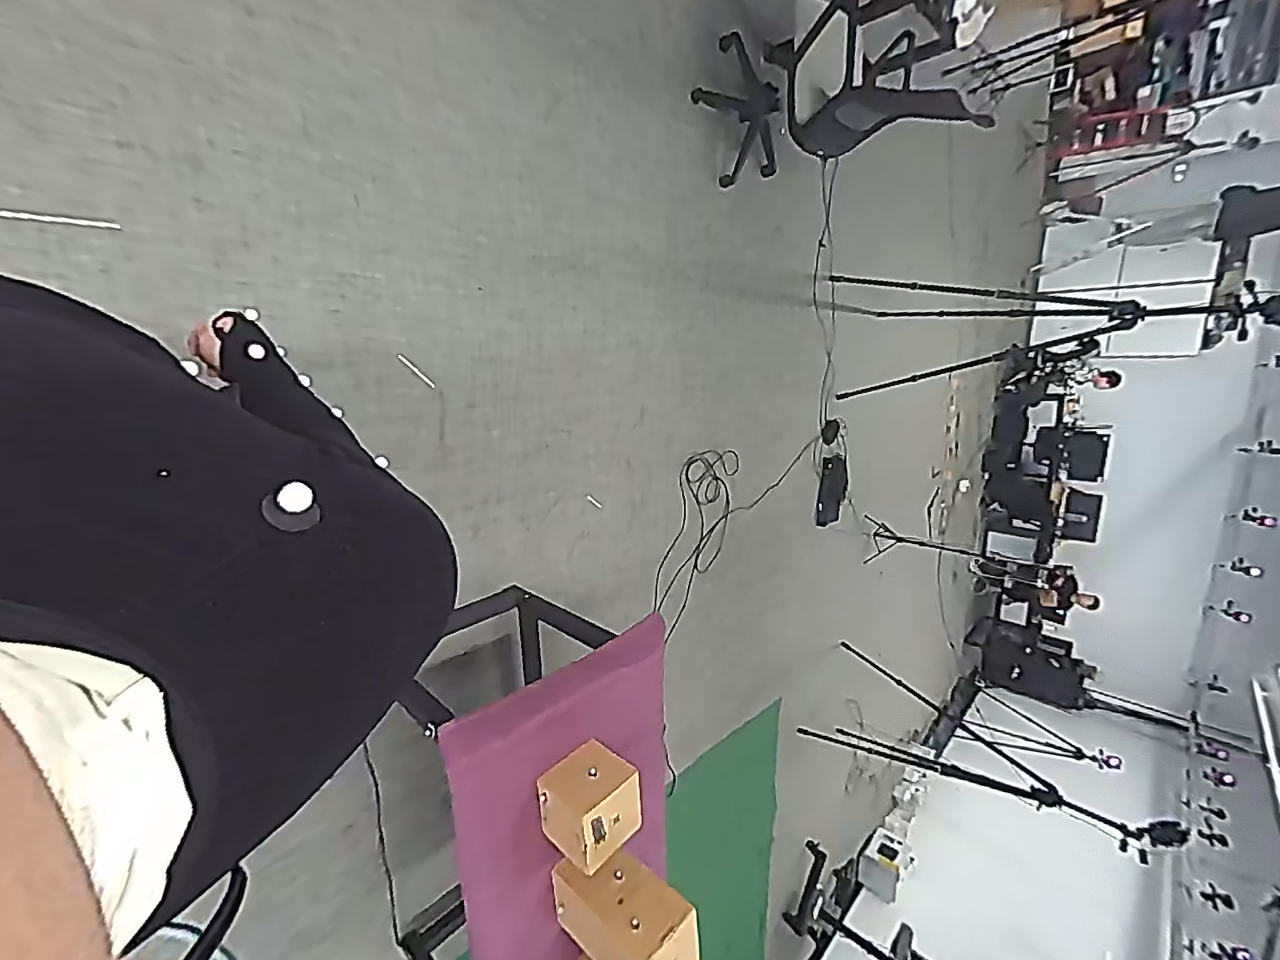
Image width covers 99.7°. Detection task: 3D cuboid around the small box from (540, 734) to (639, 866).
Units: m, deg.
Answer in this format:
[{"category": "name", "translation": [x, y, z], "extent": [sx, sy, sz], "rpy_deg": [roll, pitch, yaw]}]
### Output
[{"category": "small box", "translation": [-0.125, 0.753, 1.292], "extent": [0.179, 0.176, 0.168], "rpy_deg": [-18, 112, -44]}]

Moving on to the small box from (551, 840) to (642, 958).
[{"category": "small box", "translation": [-0.109, 1.024, 1.368], "extent": [0.168, 0.176, 0.179], "rpy_deg": [-18, 112, -43]}]

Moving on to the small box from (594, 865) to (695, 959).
[{"category": "small box", "translation": [0.008, 1.045, 1.256], "extent": [0.168, 0.176, 0.179], "rpy_deg": [-18, 111, -42]}]
